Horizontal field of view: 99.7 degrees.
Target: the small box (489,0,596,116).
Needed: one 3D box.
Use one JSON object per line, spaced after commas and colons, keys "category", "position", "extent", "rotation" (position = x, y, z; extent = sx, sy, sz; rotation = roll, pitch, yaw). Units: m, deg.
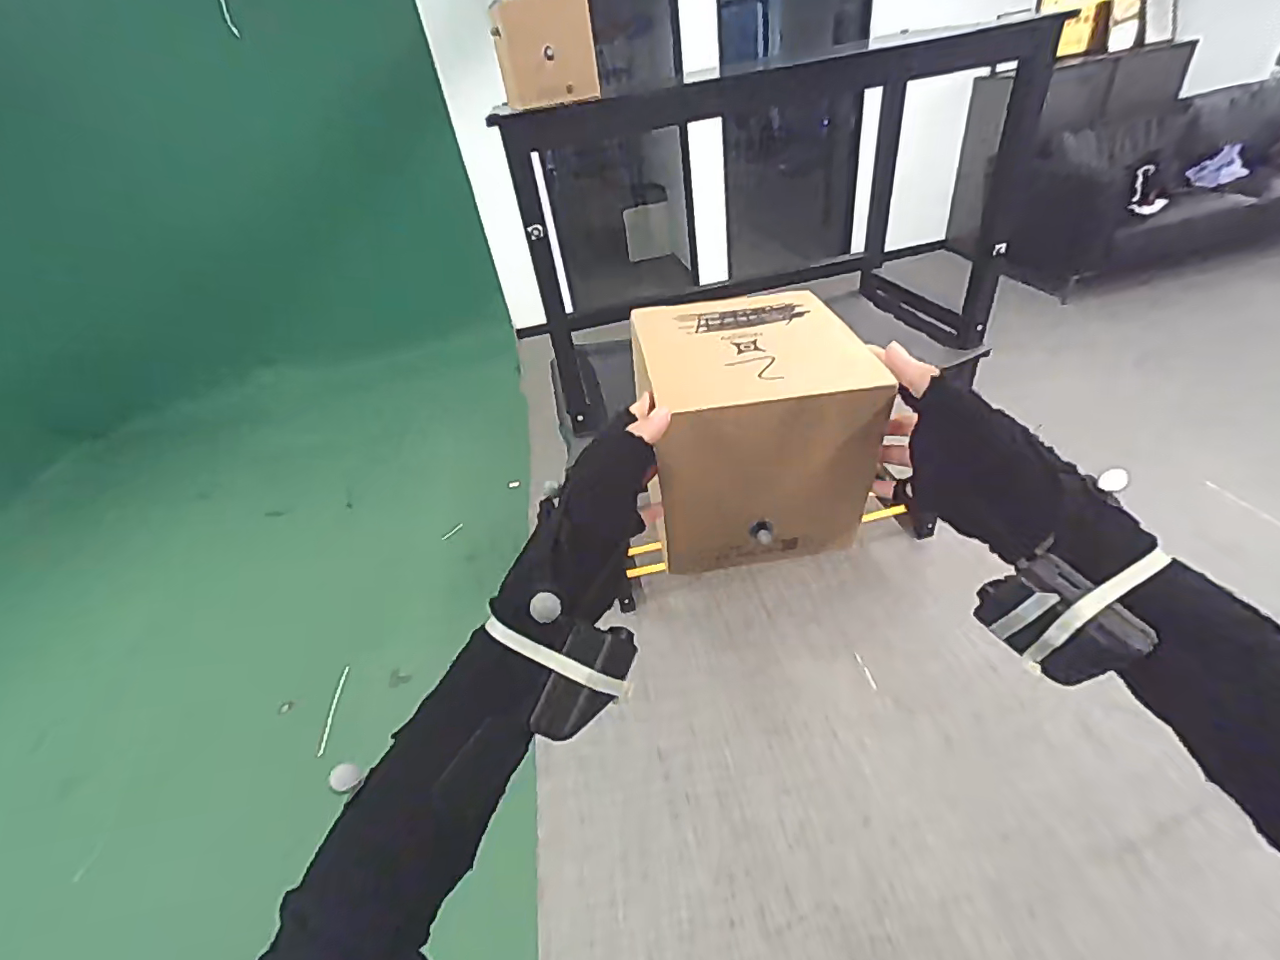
{"category": "small box", "position": [-0.196, -0.854, 1.100], "extent": [0.168, 0.176, 0.179], "rotation": [-16, 37, -10]}
